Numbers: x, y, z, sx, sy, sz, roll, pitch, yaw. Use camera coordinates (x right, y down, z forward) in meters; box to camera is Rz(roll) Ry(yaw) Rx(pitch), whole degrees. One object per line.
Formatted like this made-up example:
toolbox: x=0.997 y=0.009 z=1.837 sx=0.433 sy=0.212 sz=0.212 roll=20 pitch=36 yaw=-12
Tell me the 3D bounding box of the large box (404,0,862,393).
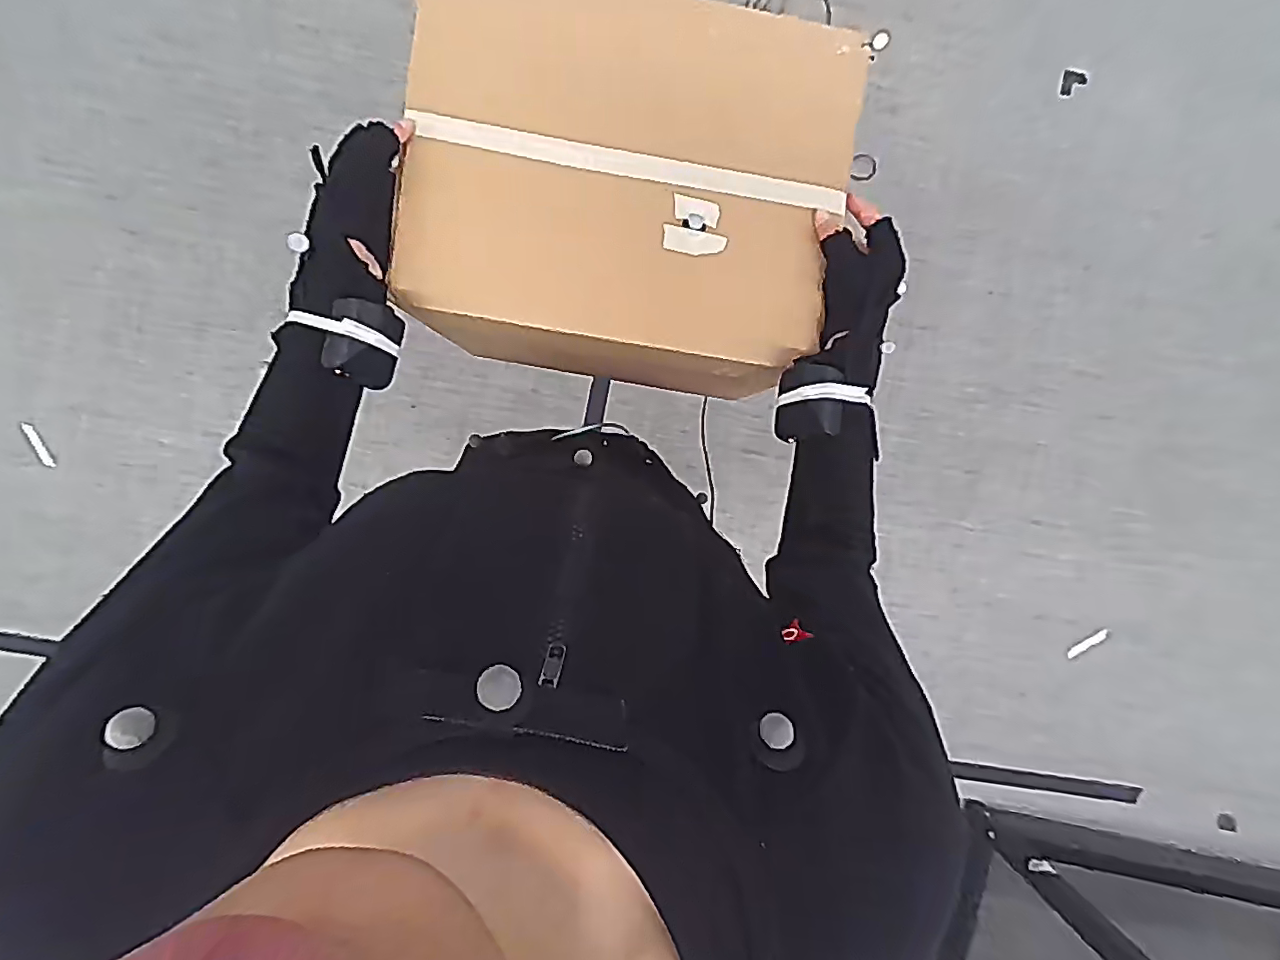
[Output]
large box: x=-0.016 y=-0.300 z=0.656 sx=0.408 sy=0.320 sz=0.320 roll=9 pitch=94 yaw=-4
